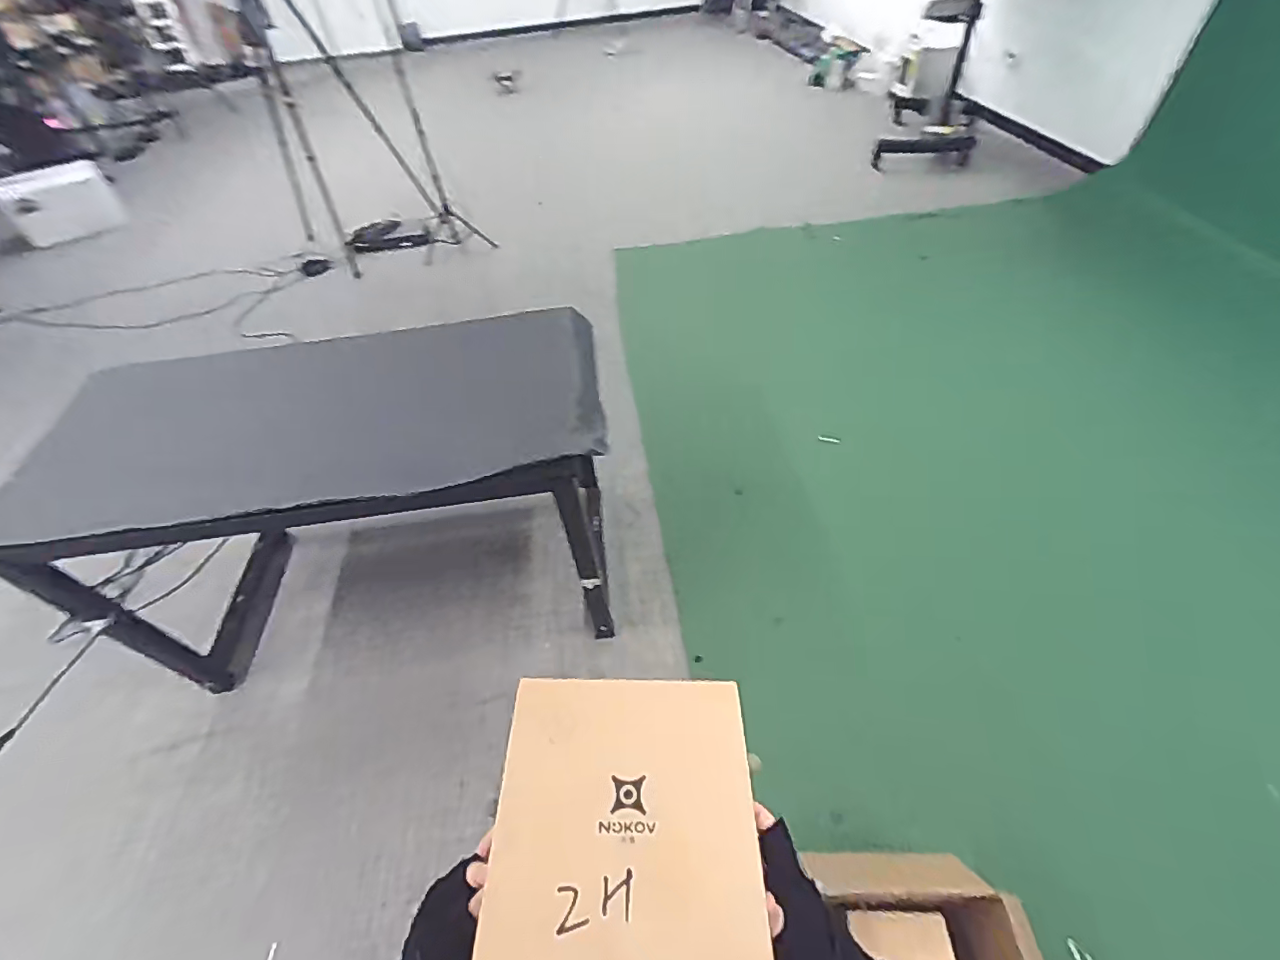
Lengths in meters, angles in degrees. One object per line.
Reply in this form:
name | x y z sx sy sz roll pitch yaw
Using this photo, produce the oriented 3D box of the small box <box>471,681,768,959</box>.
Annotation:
small box | -0.013 0.271 0.401 0.168 0.176 0.179 1 44 -1
